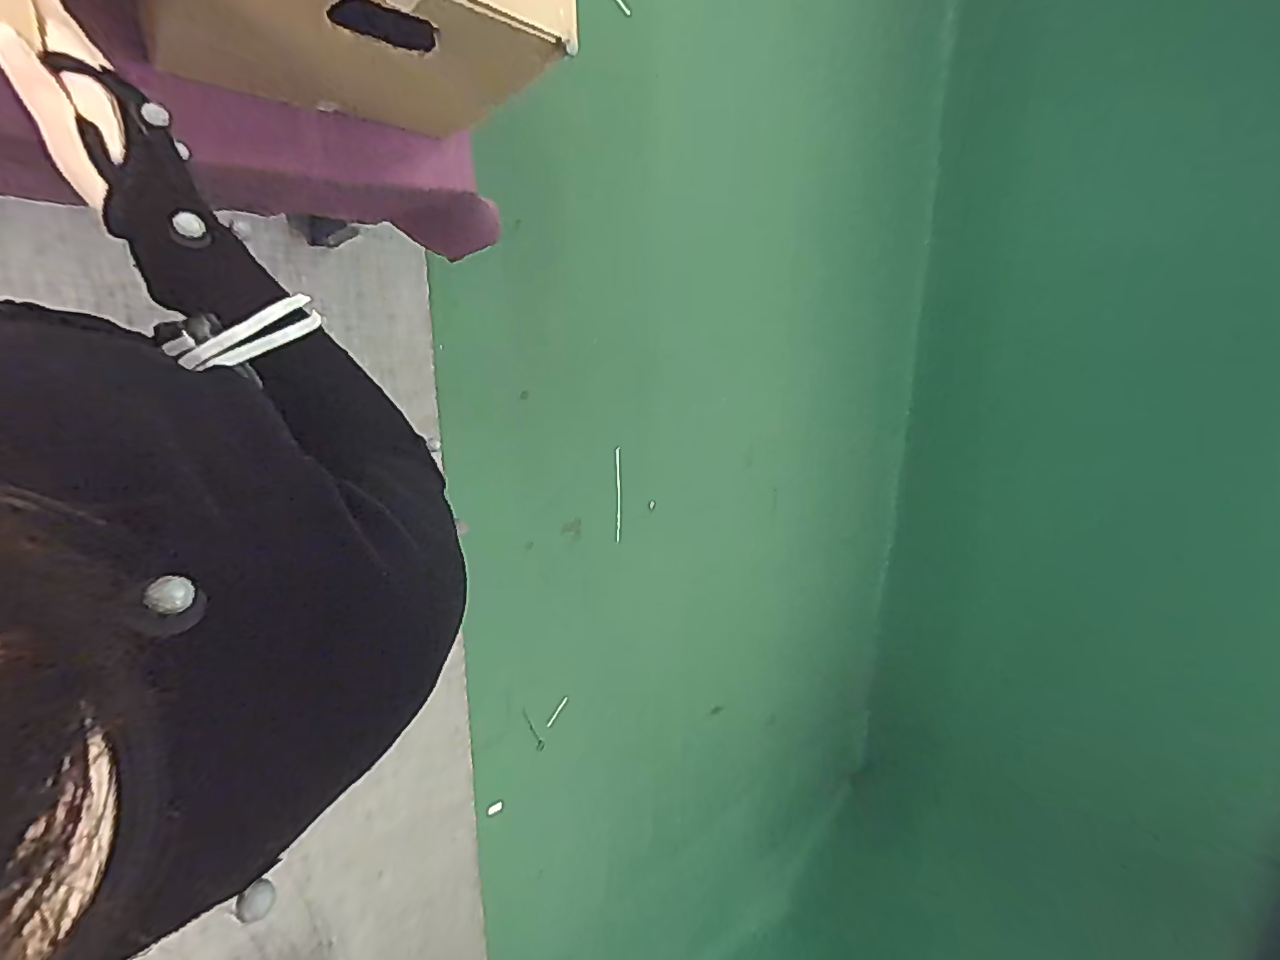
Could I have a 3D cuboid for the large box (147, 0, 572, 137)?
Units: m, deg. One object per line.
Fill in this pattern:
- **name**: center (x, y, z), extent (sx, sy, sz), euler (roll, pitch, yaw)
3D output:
- **large box**: center (-0.284, -0.612, 0.500), extent (0.320, 0.320, 0.408), euler (-13, 109, -40)
